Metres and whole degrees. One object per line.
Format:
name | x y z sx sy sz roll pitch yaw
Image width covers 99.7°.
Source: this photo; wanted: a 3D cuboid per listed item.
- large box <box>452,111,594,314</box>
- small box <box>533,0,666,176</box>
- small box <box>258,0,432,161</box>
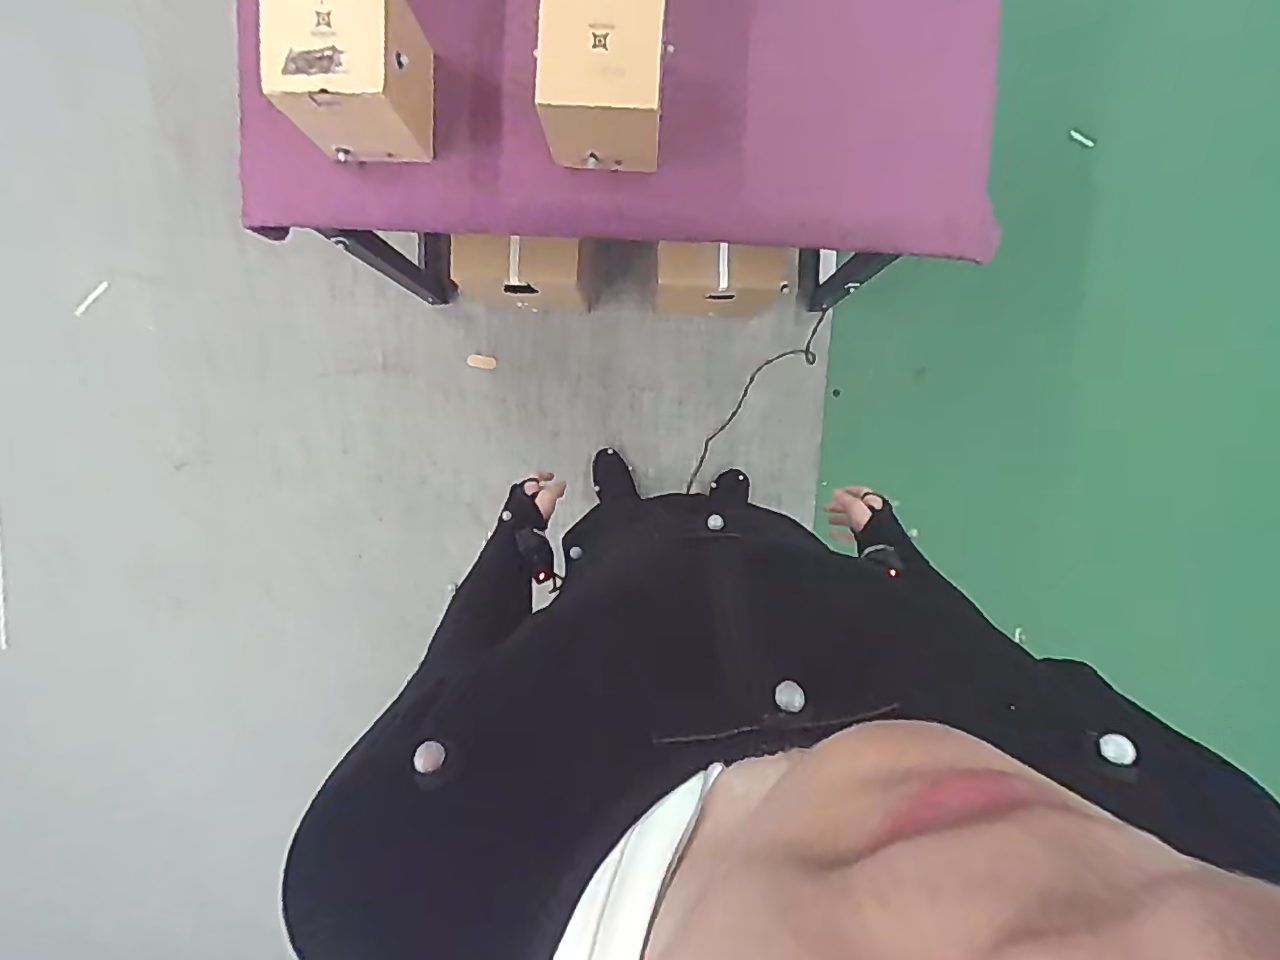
large box | -0.293 -0.681 1.442 0.320 0.320 0.408 3 93 0
small box | -0.052 -0.577 0.783 0.168 0.176 0.179 4 93 1
small box | -0.415 -0.593 0.784 0.168 0.176 0.179 2 92 0
